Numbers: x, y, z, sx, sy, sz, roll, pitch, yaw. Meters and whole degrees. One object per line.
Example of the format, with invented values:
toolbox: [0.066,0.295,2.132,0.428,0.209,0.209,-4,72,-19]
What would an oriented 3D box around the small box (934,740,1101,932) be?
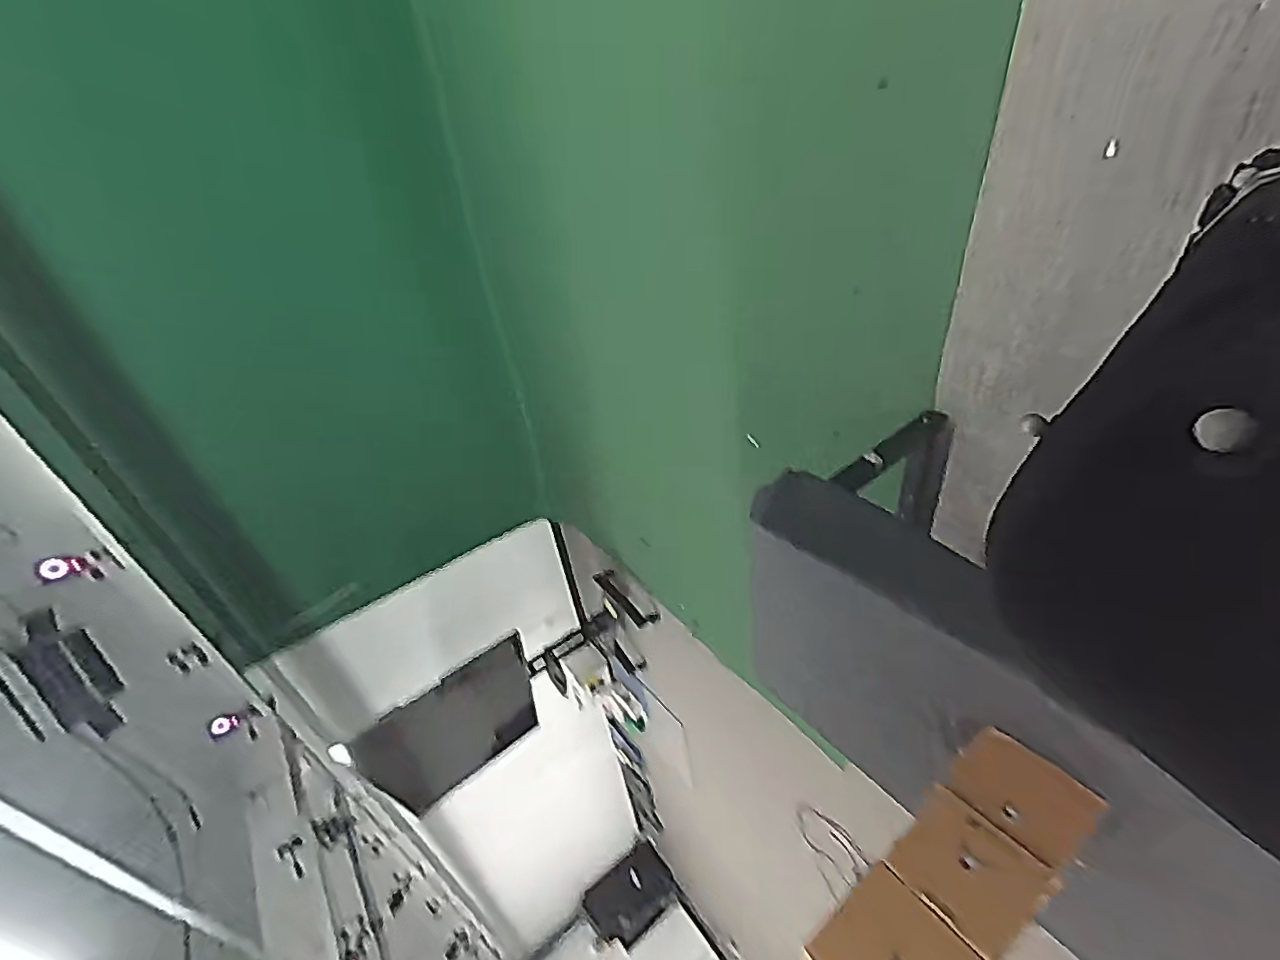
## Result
small box: [0.607,0.576,0.890,0.179,0.176,0.168,33,141,46]

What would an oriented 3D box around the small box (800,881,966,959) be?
small box: [0.342,0.703,0.743,0.179,0.176,0.168,31,140,48]

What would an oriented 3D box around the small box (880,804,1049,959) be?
small box: [0.477,0.640,0.815,0.168,0.176,0.179,32,140,45]
